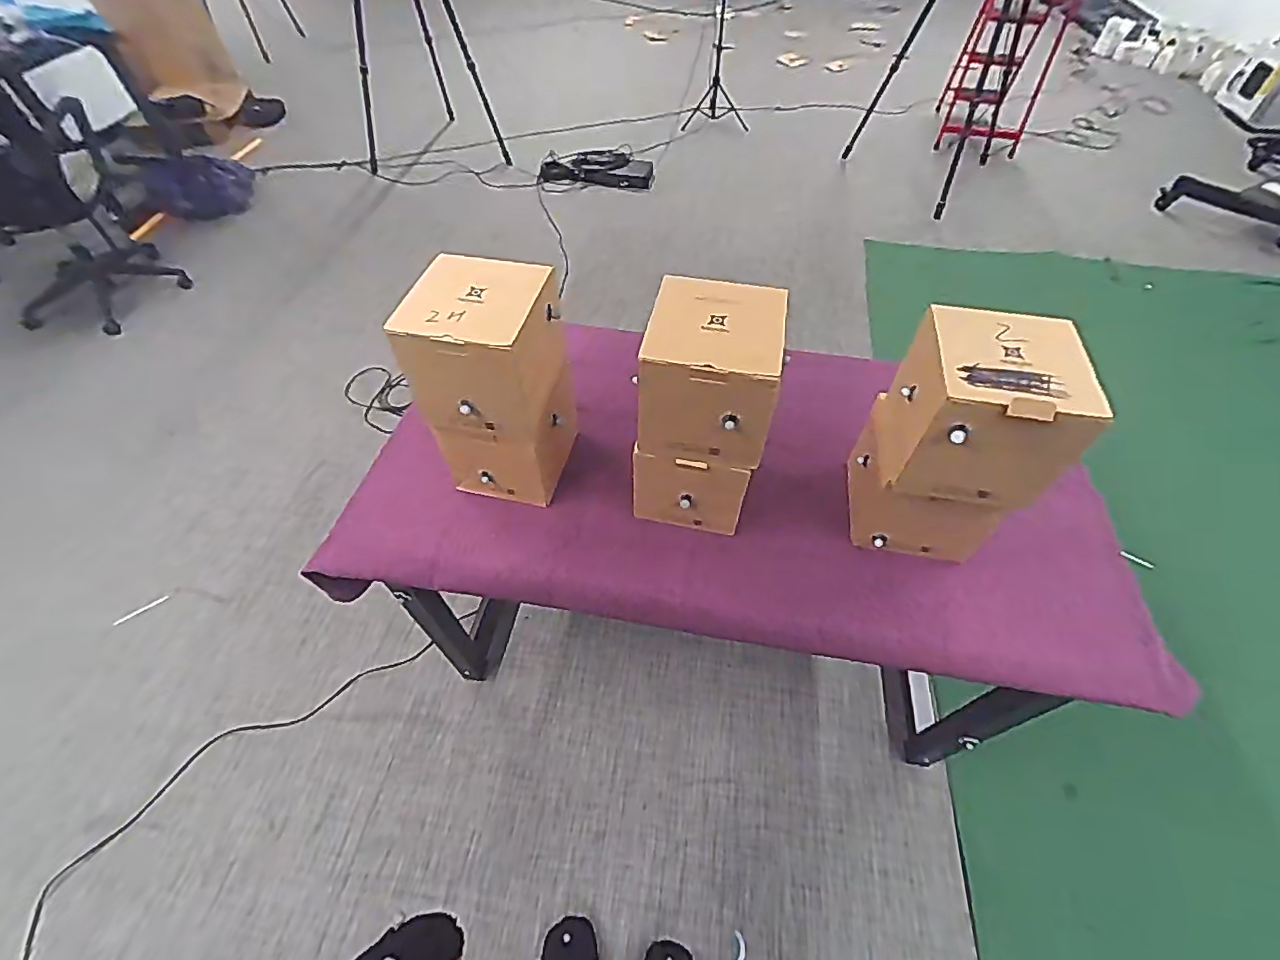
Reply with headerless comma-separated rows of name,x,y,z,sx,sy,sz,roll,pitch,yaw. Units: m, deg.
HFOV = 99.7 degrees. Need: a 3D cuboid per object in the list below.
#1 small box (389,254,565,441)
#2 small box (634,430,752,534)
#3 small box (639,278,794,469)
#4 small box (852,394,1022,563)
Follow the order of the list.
small box,-0.207,-0.182,0.750,0.168,0.176,0.179,9,54,7
small box,0.092,-0.037,0.846,0.168,0.176,0.179,11,54,8
small box,0.099,-0.137,0.716,0.168,0.176,0.179,10,53,7
small box,0.430,0.003,0.812,0.168,0.176,0.179,13,54,7
